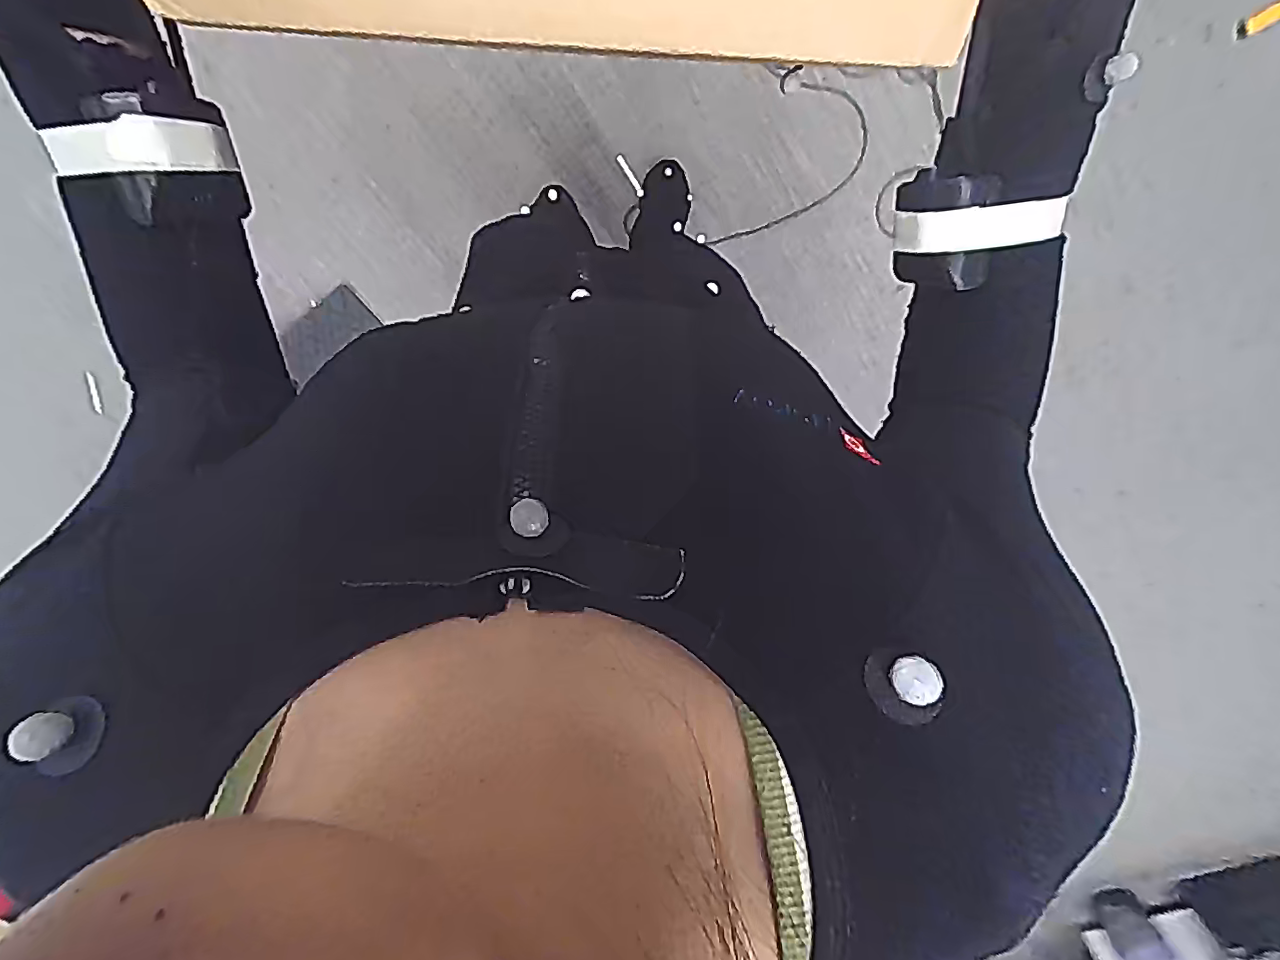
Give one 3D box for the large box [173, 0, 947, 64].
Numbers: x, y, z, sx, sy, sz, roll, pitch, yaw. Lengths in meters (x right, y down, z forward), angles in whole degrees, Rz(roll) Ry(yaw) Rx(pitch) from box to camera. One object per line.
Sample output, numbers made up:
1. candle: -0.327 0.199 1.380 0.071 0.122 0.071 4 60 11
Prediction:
1. large box: -0.037 -0.442 0.307 0.408 0.320 0.320 1 128 -2
